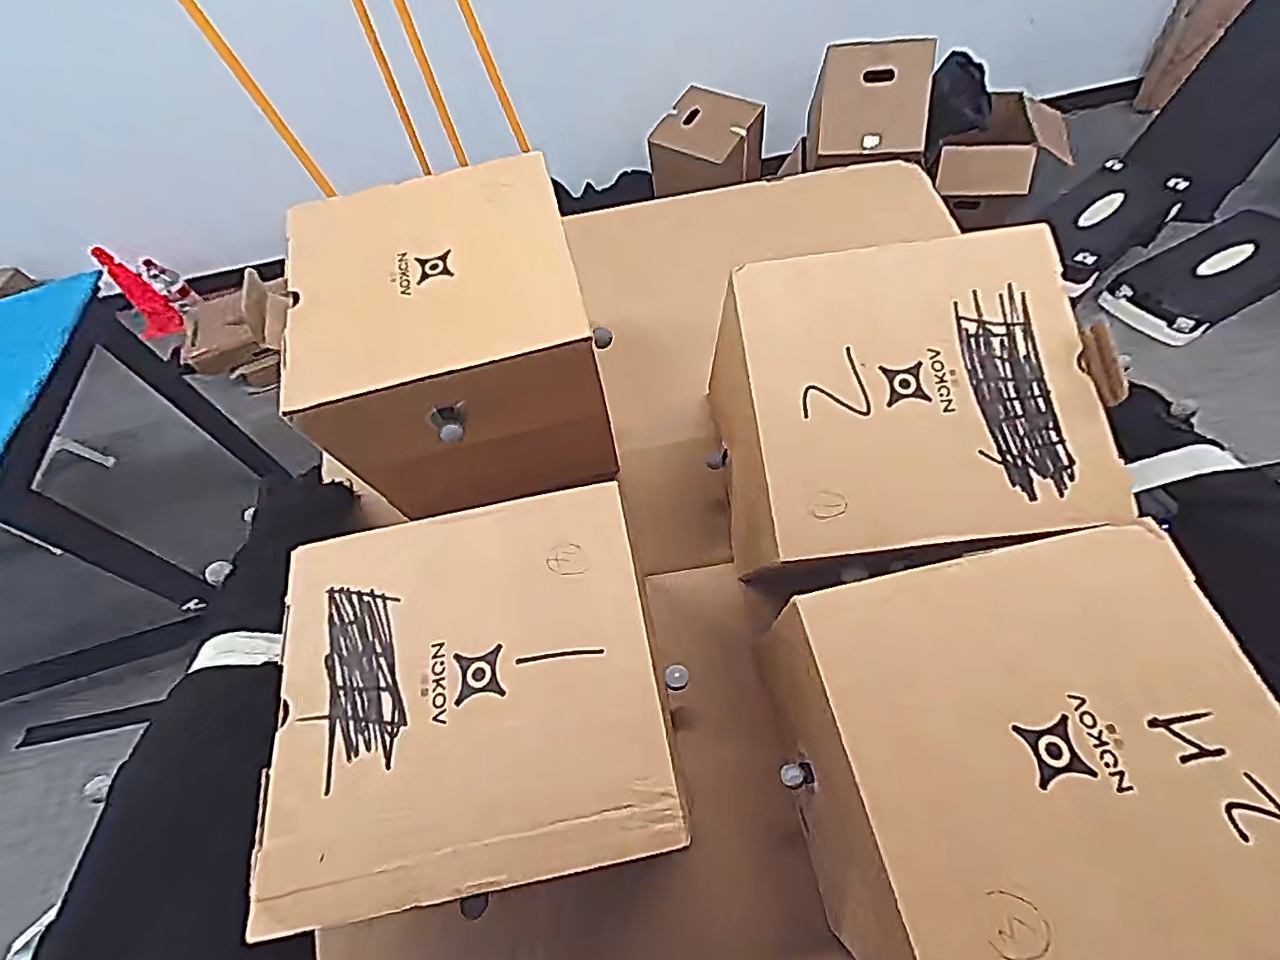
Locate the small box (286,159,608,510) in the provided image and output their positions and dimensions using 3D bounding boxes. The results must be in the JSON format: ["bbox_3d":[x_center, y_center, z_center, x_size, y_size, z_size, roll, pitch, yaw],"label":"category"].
[{"bbox_3d":[-0.126,-0.096,0.409,0.179,0.176,0.168,-15,65,-1],"label":"small box"}]
